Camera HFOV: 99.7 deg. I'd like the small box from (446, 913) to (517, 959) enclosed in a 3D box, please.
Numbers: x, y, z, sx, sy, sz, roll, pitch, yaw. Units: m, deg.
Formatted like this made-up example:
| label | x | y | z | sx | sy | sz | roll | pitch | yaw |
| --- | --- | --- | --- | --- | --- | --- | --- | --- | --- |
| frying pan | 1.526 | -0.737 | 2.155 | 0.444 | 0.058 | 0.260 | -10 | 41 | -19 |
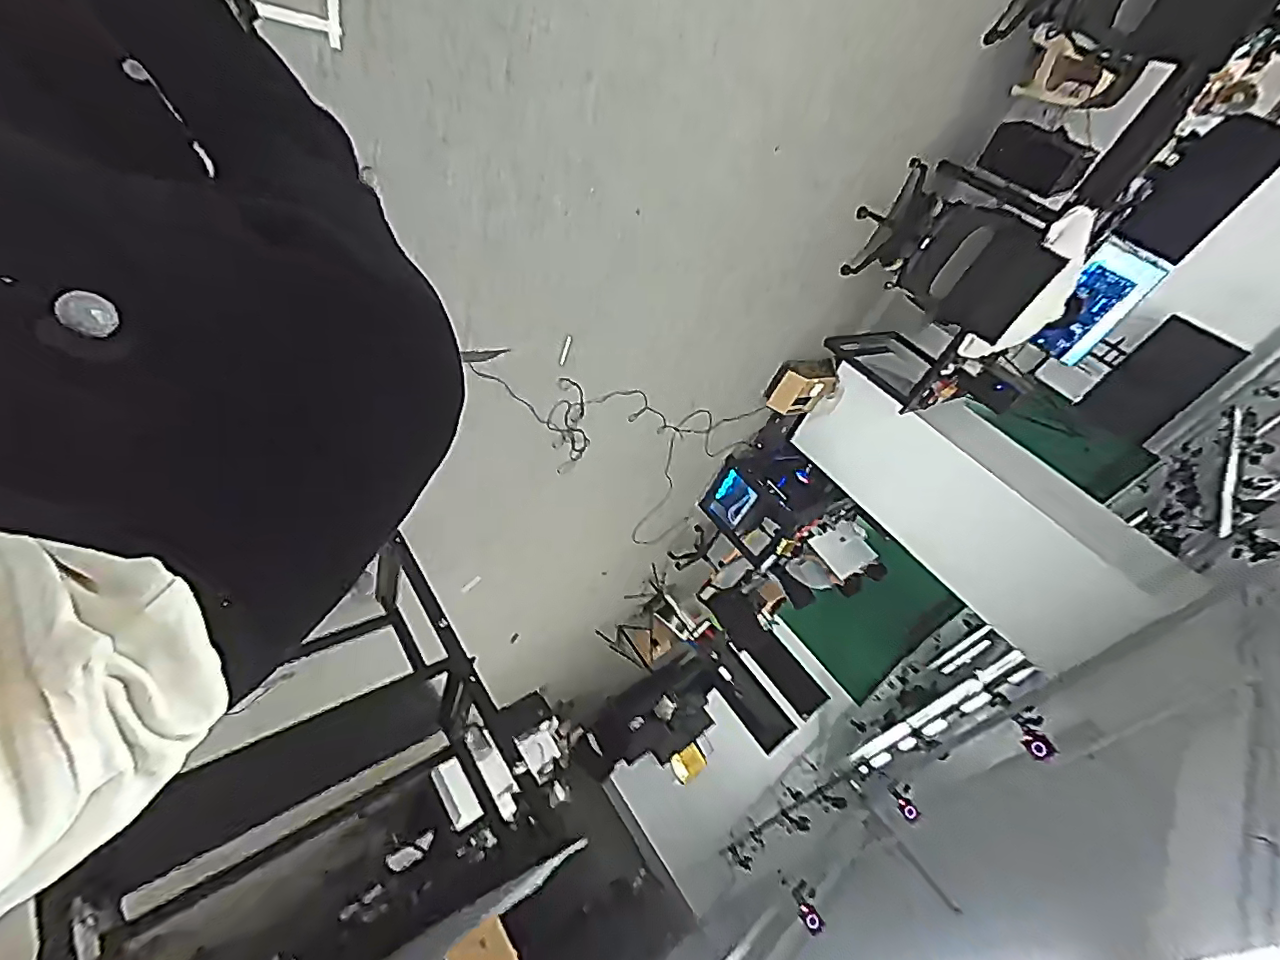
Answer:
| label | x | y | z | sx | sy | sz | roll | pitch | yaw |
| --- | --- | --- | --- | --- | --- | --- | --- | --- | --- |
| small box | -0.532 | 1.592 | 1.798 | 0.168 | 0.176 | 0.179 | -18 | 145 | -39 |
